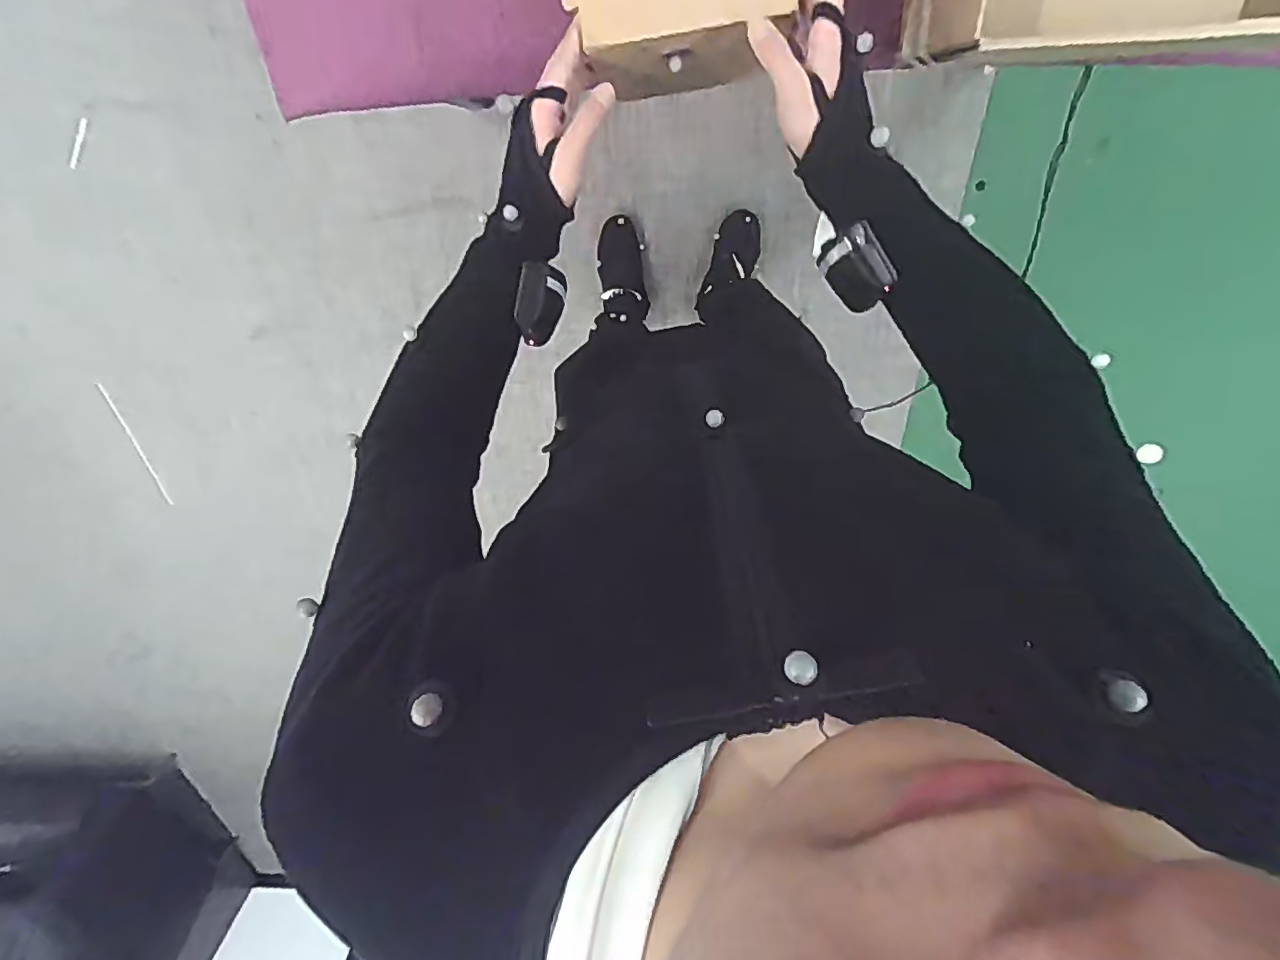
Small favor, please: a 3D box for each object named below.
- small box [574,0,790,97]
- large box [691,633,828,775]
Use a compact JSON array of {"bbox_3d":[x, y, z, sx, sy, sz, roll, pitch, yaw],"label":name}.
[{"bbox_3d":[0.034,-0.469,0.481,0.179,0.176,0.168,-5,111,7],"label":"small box"},{"bbox_3d":[0.451,0.874,2.118,0.408,0.320,0.320,-30,116,18],"label":"large box"}]
